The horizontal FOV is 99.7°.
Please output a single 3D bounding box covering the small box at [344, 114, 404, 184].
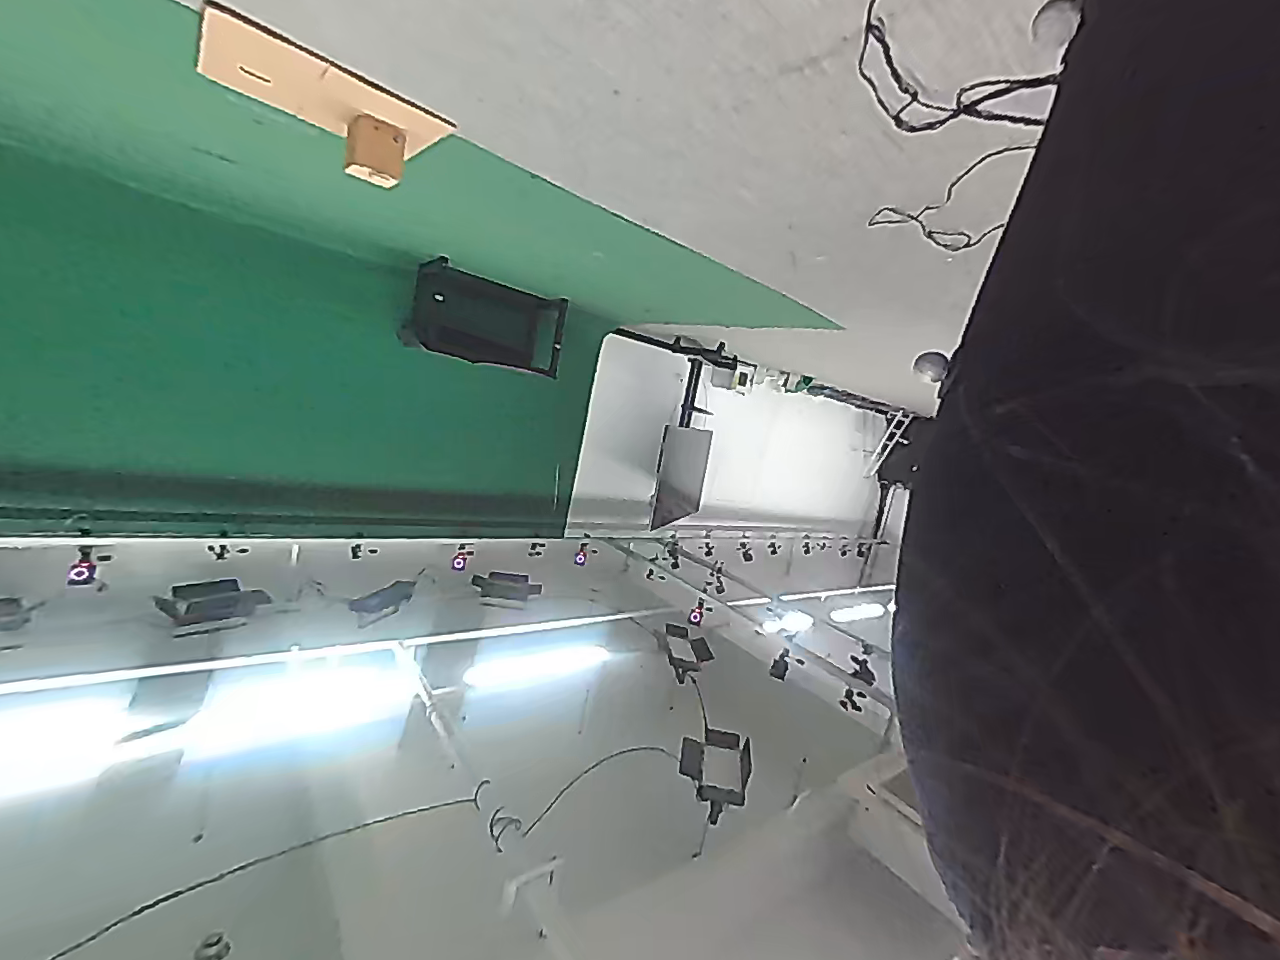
[{"bbox_3d":[-1.016,-1.264,2.067,0.168,0.176,0.179,3,-167,-43],"label":"small box"}]
